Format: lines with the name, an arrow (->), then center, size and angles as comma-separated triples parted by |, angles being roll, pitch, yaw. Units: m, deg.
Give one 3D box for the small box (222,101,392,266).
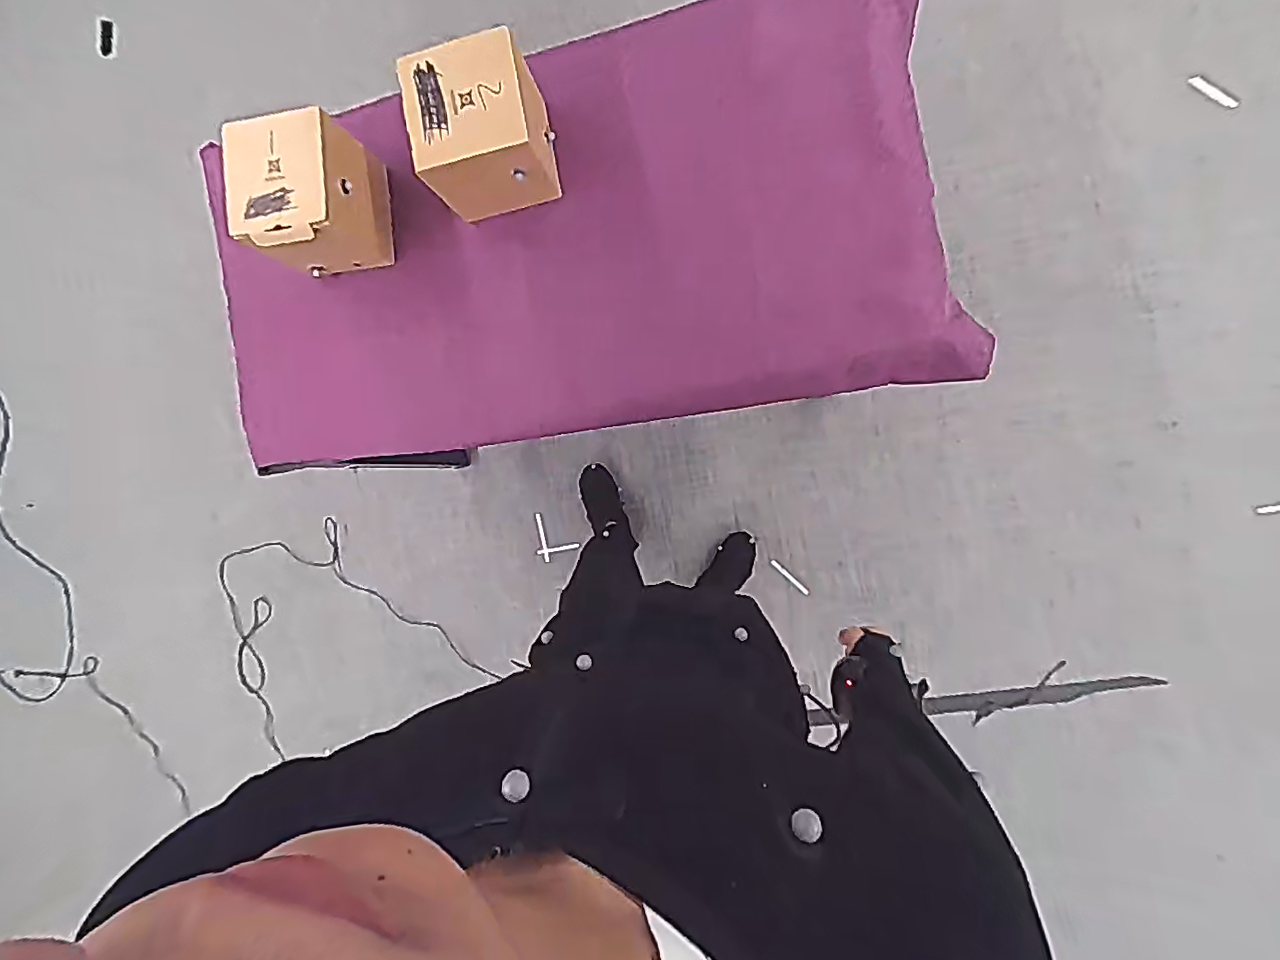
small box -> -0.527, -0.462, 0.878 | 0.168, 0.176, 0.179 | -4, 91, 8
